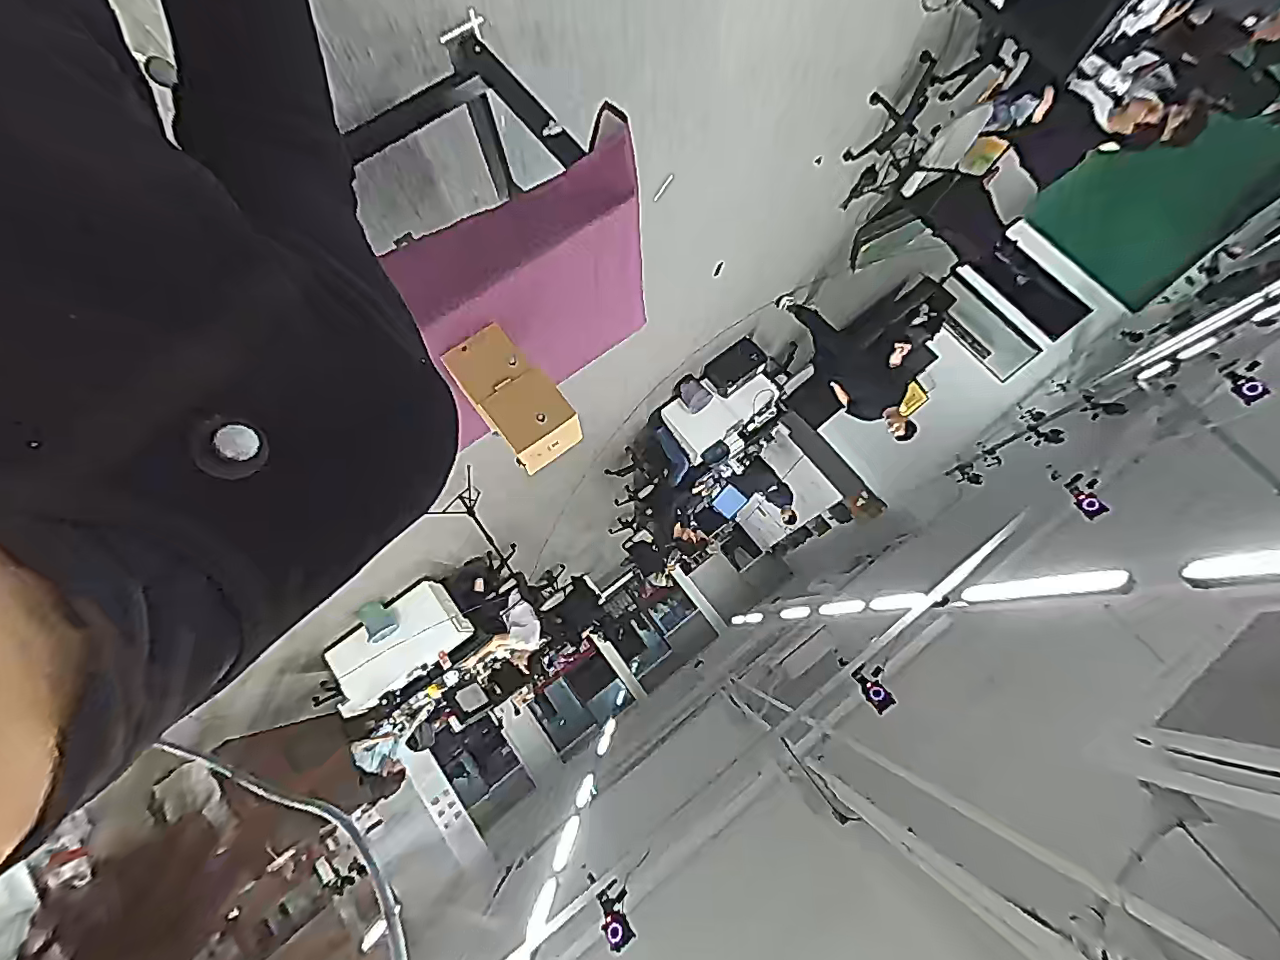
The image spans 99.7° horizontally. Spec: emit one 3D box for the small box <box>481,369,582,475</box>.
[{"bbox_3d":[-0.269,-0.148,1.364,0.179,0.176,0.168,-37,167,-11],"label":"small box"}]
